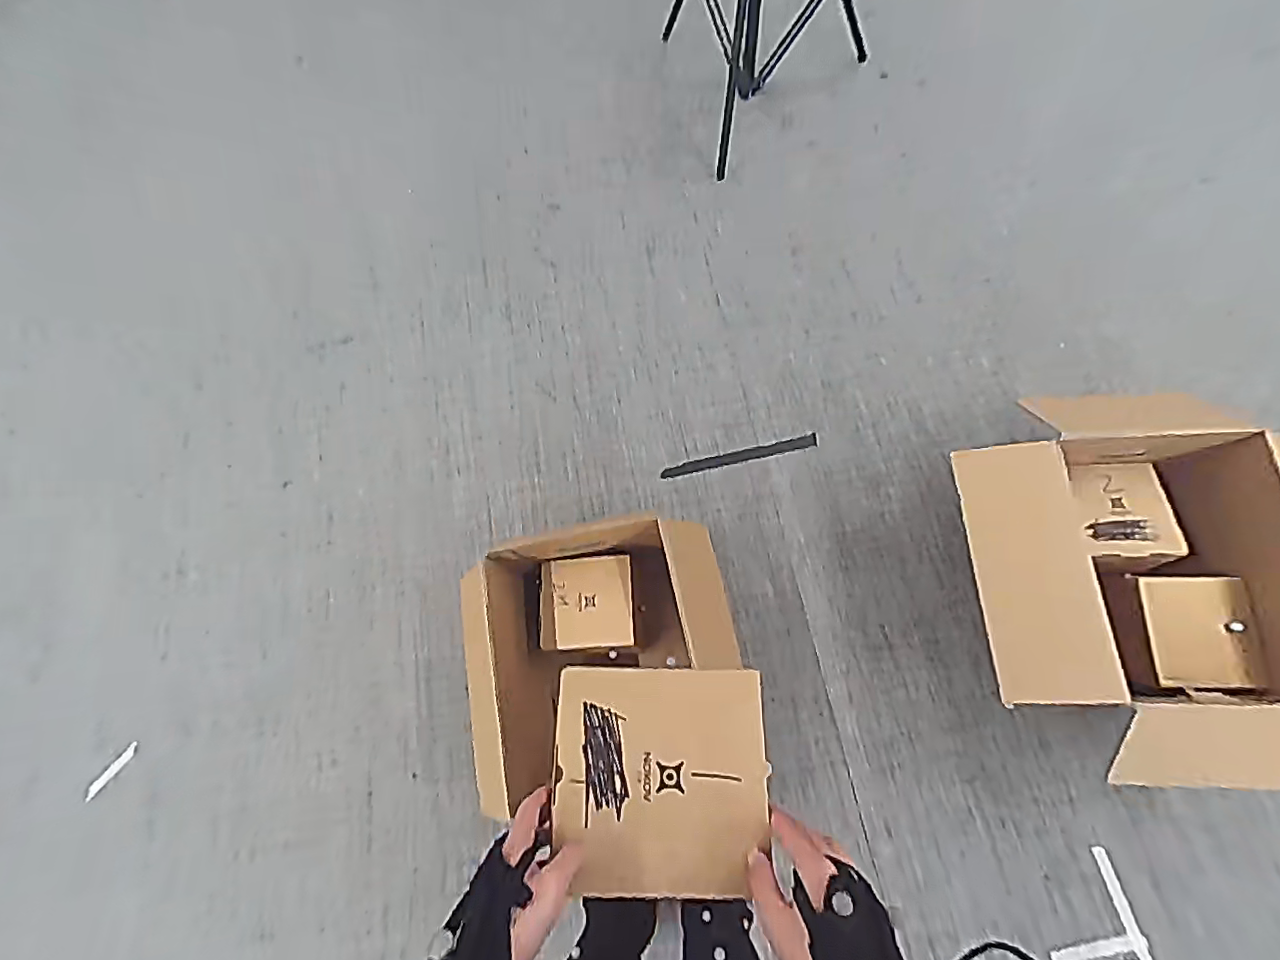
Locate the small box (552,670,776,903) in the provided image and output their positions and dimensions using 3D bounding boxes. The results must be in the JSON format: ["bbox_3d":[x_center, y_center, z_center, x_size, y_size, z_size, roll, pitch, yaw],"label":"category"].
[{"bbox_3d":[0.026,0.275,0.517,0.179,0.176,0.168,-1,68,4],"label":"small box"}]
